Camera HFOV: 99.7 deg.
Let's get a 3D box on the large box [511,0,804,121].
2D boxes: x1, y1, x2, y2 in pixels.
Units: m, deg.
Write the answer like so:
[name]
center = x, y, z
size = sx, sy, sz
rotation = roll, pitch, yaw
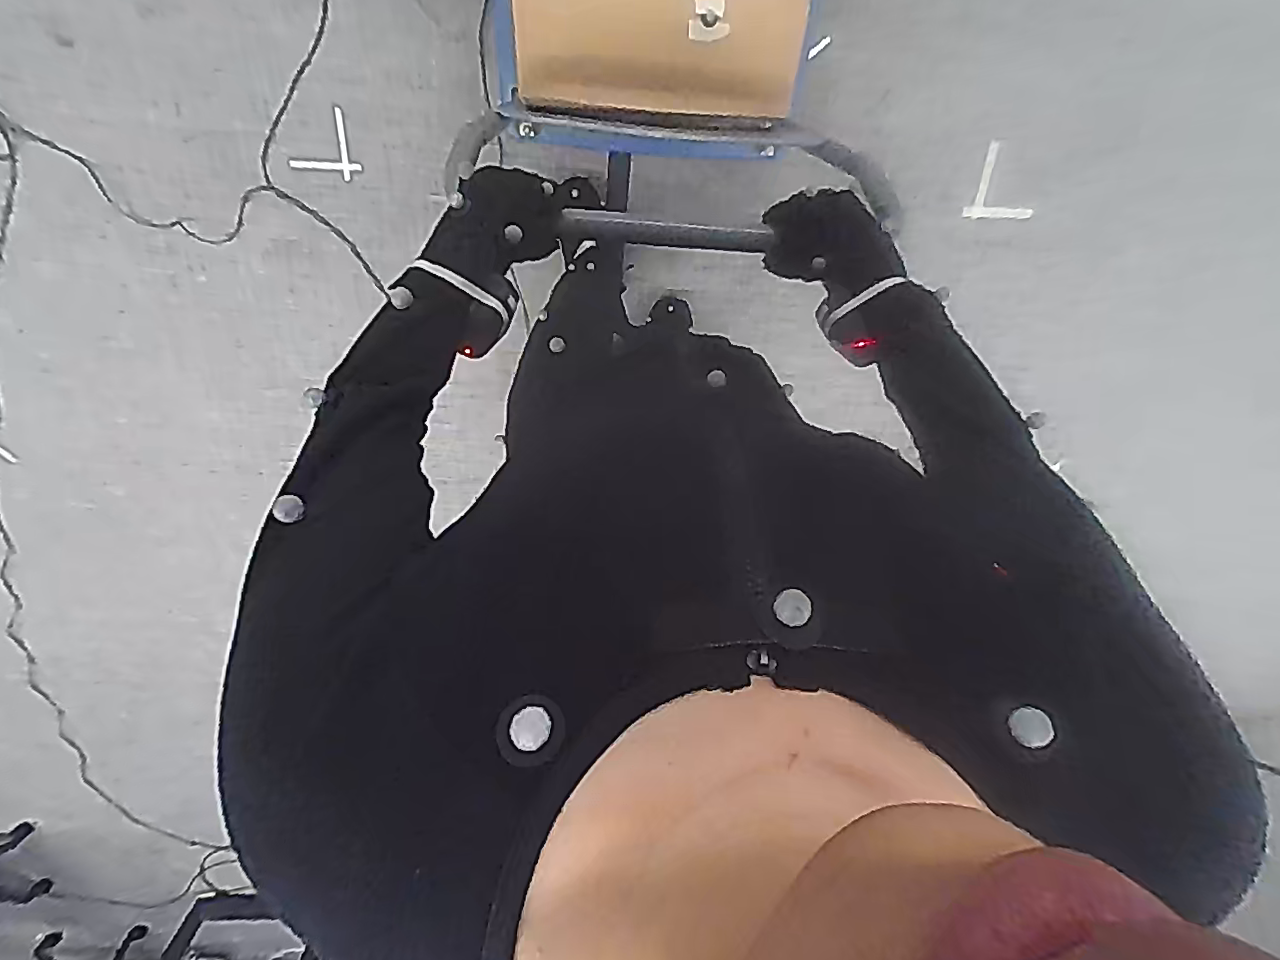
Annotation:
[large box]
center = 0.017, -0.750, 0.836
size = 0.408, 0.320, 0.320
rotation = 0, 126, -4
